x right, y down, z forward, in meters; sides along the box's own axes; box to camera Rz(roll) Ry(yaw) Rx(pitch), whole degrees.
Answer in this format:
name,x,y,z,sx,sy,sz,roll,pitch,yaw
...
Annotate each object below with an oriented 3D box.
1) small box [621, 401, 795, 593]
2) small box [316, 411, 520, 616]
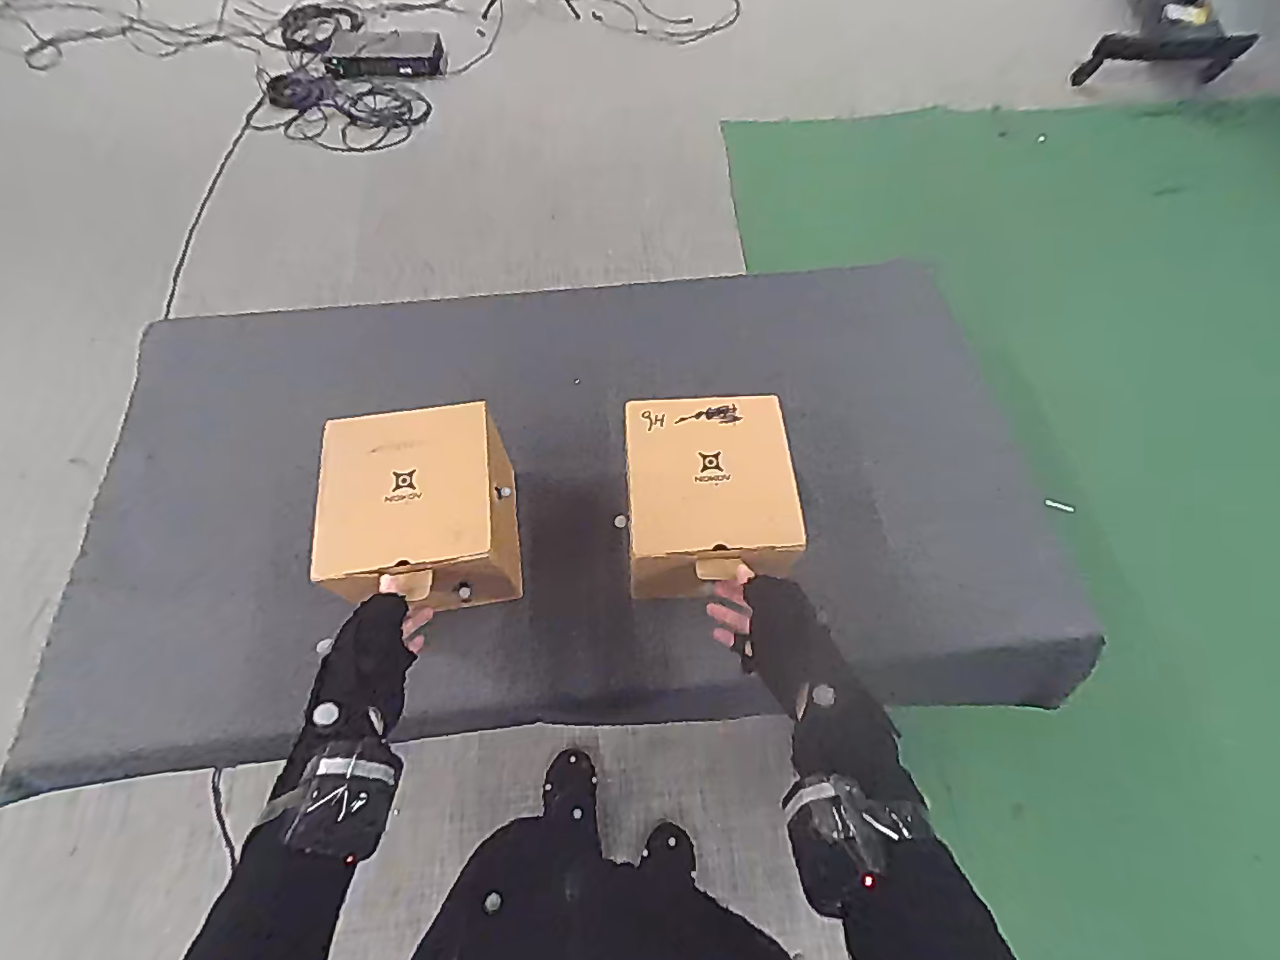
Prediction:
name,x,y,z,sx,sy,sz,roll,pitch,yaw
small box,0.065,0.029,0.622,0.168,0.176,0.179,-2,65,-2
small box,-0.237,0.048,0.616,0.168,0.176,0.179,-9,64,-6
